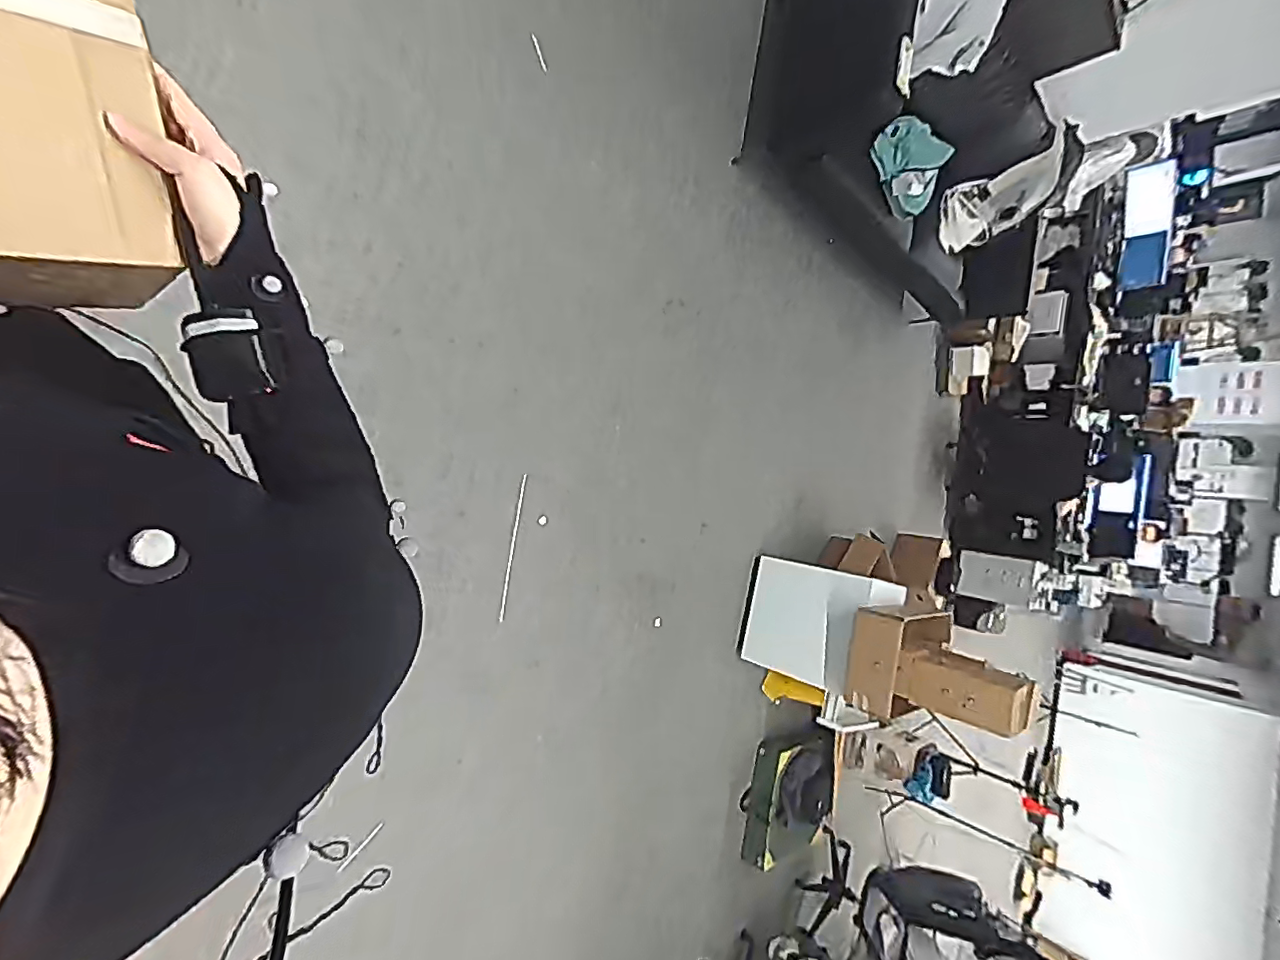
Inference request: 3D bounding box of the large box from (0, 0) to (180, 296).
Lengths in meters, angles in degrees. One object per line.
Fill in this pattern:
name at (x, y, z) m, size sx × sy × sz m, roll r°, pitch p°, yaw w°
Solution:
large box at (-0.606, -0.299, 0.338) m, size 0.408 × 0.320 × 0.320 m, roll -17°, pitch 109°, yaw -47°
